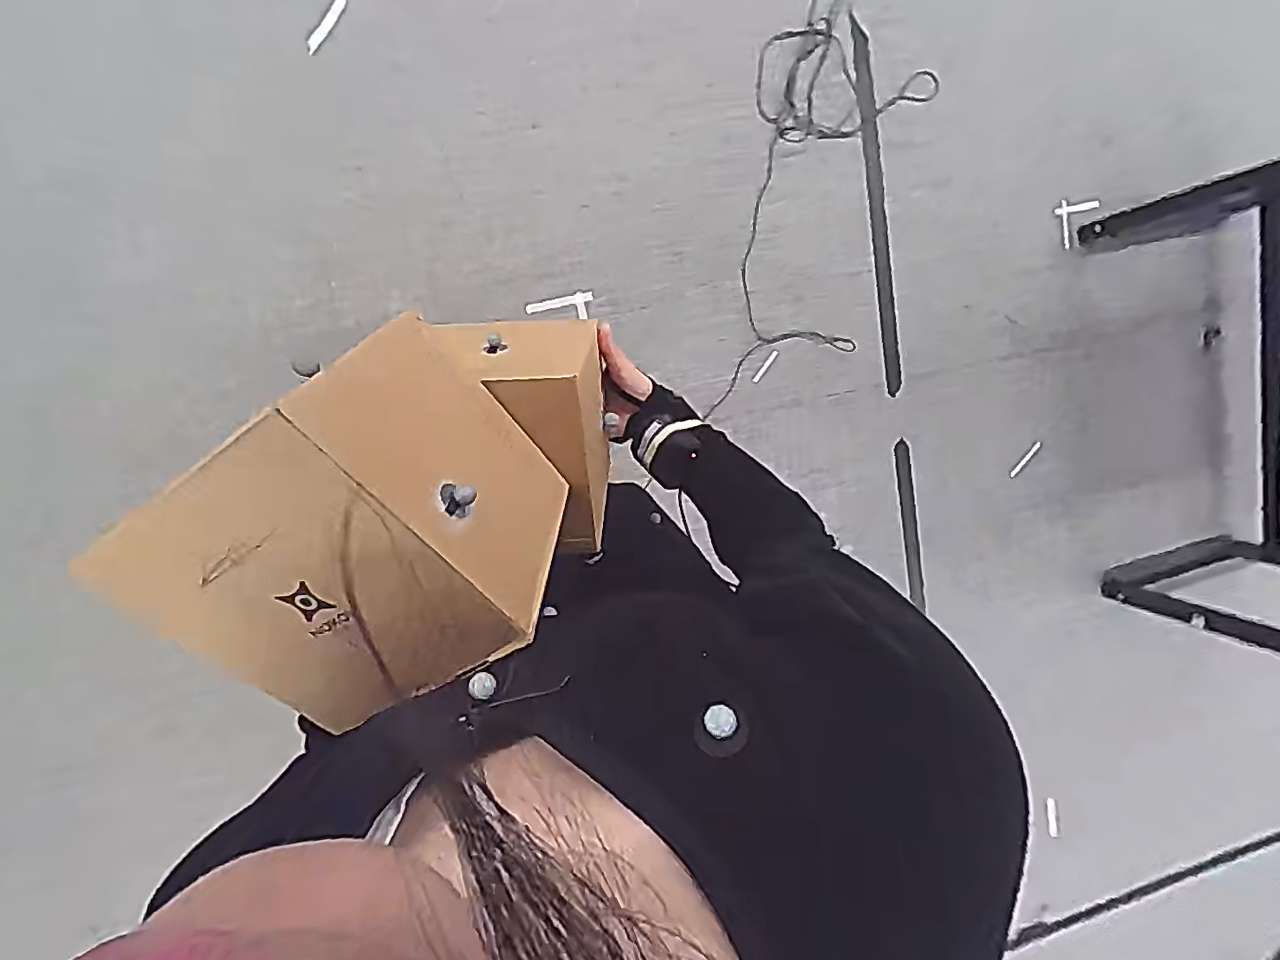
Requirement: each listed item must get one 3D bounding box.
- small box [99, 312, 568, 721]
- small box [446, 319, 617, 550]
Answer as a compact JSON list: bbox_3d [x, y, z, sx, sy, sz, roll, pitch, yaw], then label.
[{"bbox_3d":[-0.166,0.019,0.361,0.168,0.176,0.179,-30,117,17],"label":"small box"},{"bbox_3d":[-0.116,-0.050,0.512,0.179,0.176,0.168,-1,121,1],"label":"small box"}]
